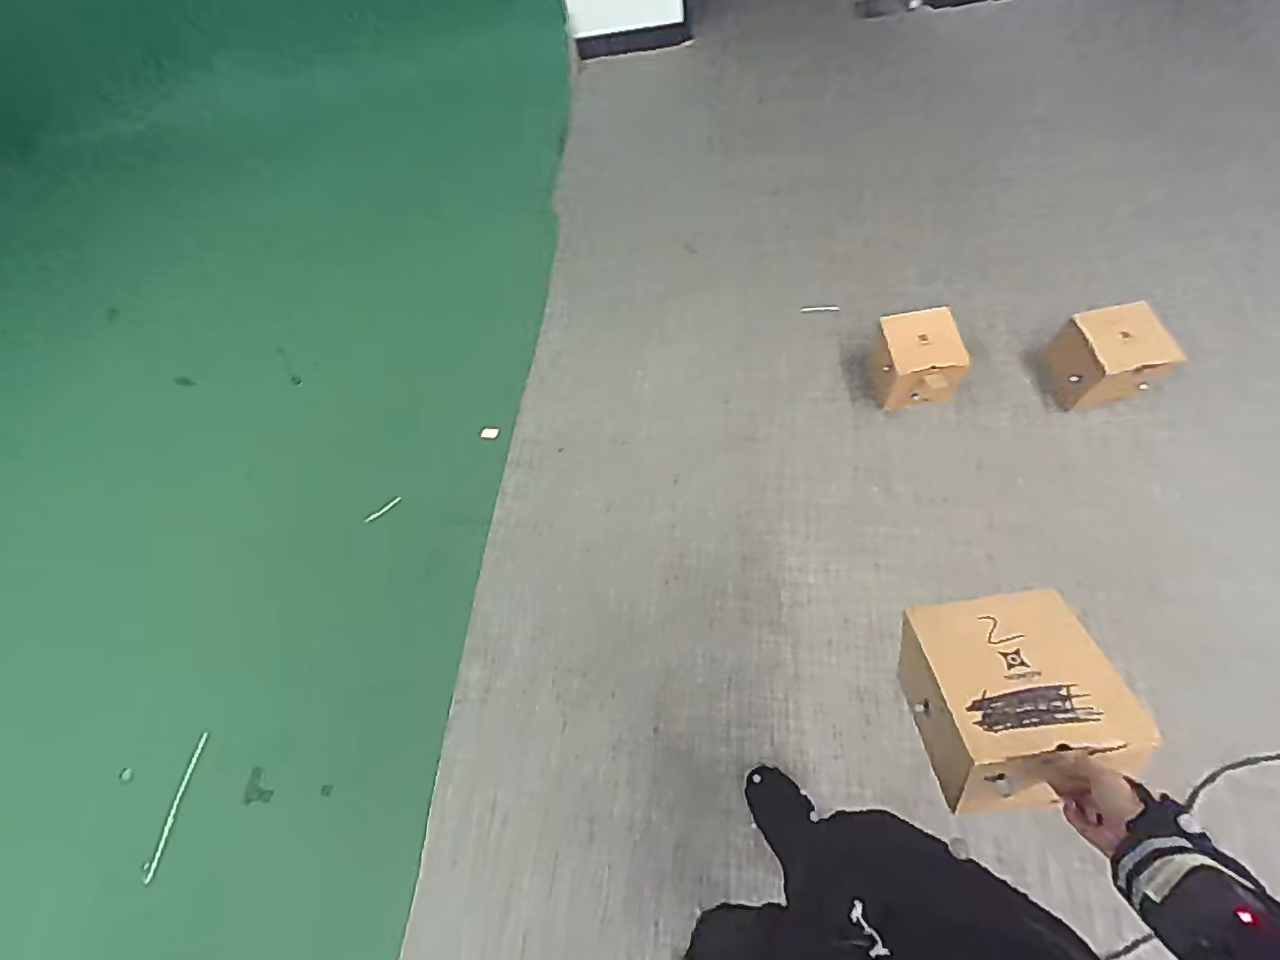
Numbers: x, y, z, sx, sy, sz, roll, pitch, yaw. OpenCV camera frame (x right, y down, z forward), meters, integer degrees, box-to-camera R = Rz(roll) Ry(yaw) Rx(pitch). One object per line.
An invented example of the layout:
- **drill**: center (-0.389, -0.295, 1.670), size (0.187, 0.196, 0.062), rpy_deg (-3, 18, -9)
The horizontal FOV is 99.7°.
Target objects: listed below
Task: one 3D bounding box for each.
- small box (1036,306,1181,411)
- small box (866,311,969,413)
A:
- **small box**: center (1.106, -0.280, 1.294), size (0.168, 0.176, 0.179), rpy_deg (-10, 63, 4)
- **small box**: center (0.694, -0.296, 1.376), size (0.168, 0.176, 0.179), rpy_deg (-8, 65, 7)
